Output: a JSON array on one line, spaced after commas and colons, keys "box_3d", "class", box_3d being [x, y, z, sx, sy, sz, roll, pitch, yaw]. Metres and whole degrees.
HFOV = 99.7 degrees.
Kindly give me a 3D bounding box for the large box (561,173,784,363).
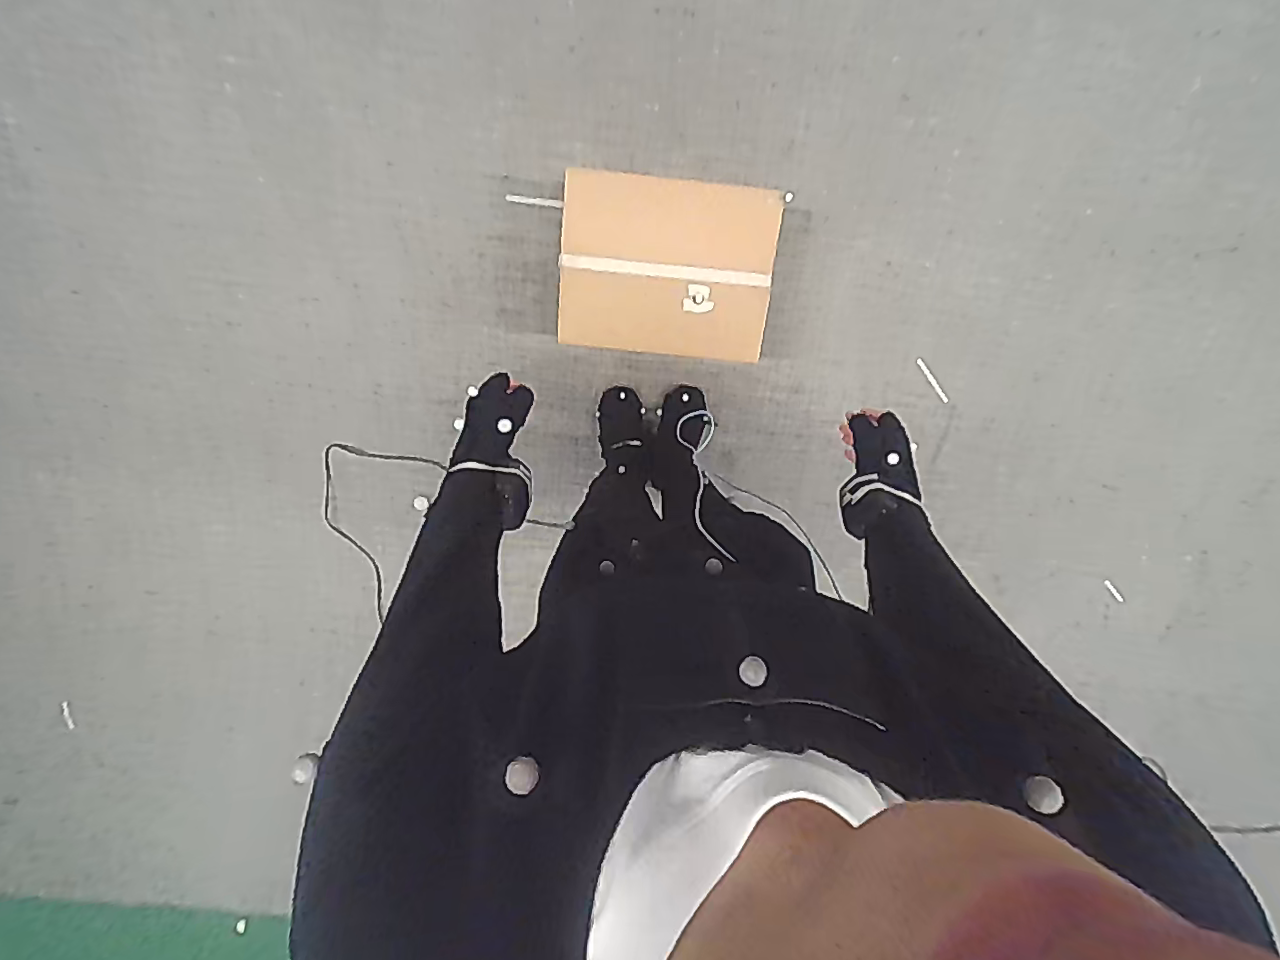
[{"box_3d": [0.051, -0.438, 1.168, 0.408, 0.320, 0.320, 5, 108, -2], "class": "large box"}]
